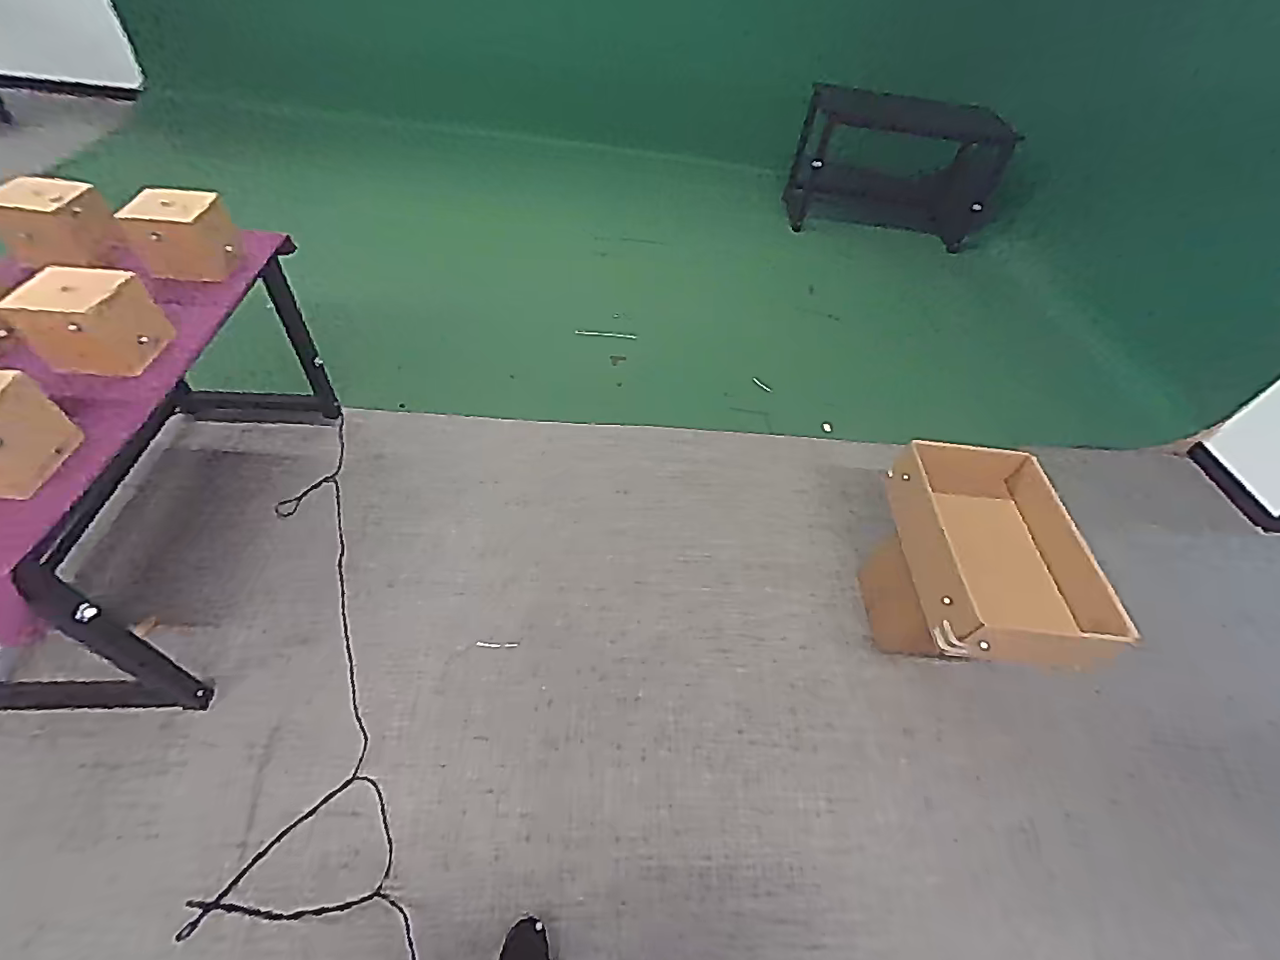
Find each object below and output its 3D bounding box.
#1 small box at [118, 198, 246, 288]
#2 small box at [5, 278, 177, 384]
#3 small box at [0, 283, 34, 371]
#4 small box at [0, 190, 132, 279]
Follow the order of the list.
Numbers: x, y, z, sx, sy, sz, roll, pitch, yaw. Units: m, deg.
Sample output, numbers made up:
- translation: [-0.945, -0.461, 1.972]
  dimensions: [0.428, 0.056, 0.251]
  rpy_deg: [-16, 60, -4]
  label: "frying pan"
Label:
- translation: [-1.226, -0.639, 1.464]
  dimensions: [0.179, 0.176, 0.168]
  rpy_deg: [1, 51, -7]
  label: "small box"
- translation: [-1.211, -0.332, 1.212]
  dimensions: [0.179, 0.176, 0.168]
  rpy_deg: [2, 50, -4]
  label: "small box"
- translation: [-1.517, -0.346, 1.189]
  dimensions: [0.179, 0.176, 0.168]
  rpy_deg: [1, 51, -7]
  label: "small box"
- translation: [-1.534, -0.645, 1.437]
  dimensions: [0.179, 0.176, 0.168]
  rpy_deg: [2, 51, -5]
  label: "small box"
